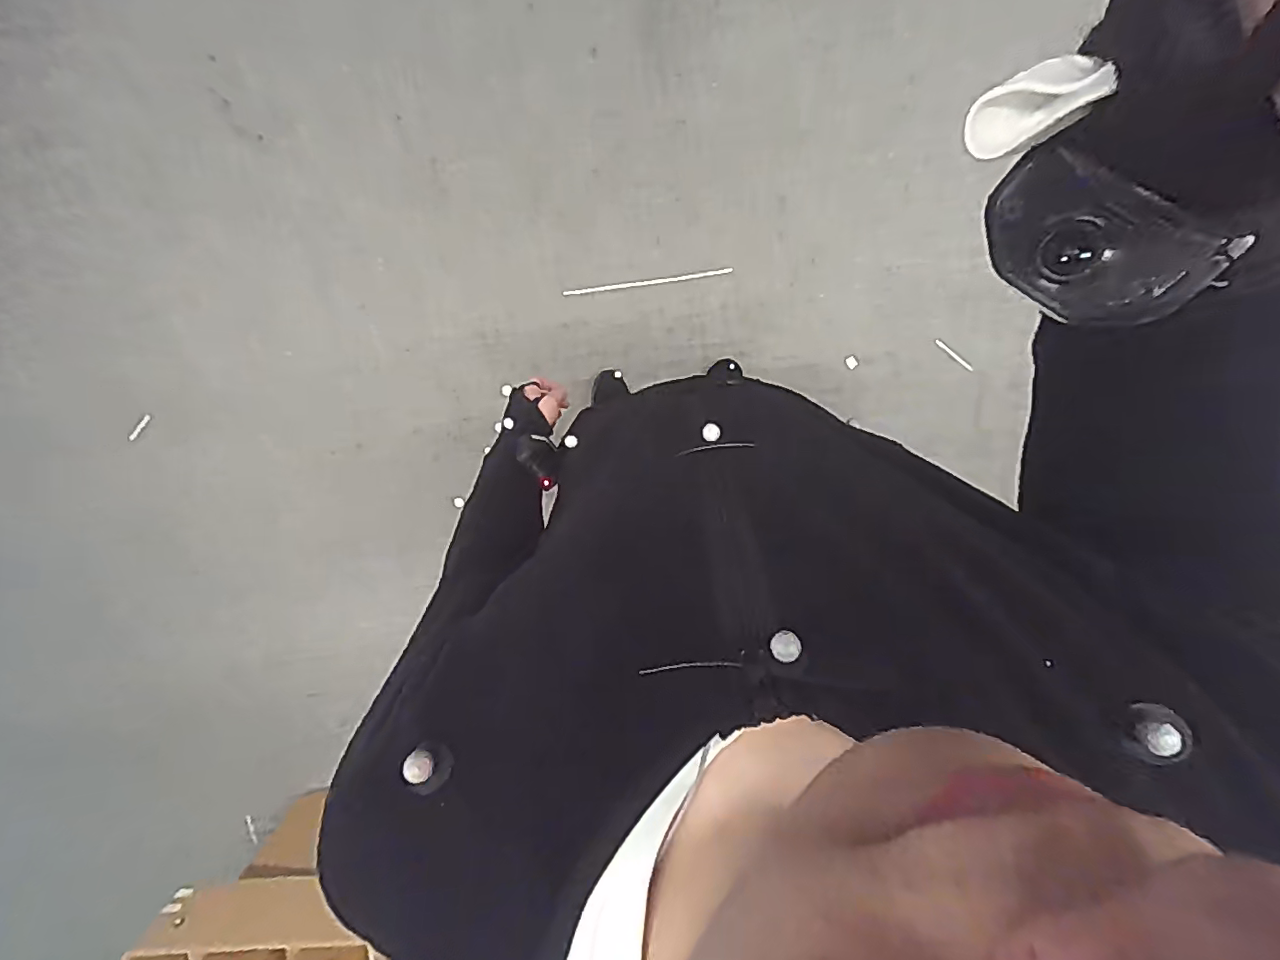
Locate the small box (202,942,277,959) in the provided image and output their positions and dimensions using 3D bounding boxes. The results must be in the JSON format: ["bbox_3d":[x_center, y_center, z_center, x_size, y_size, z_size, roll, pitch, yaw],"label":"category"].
[{"bbox_3d":[-1.063,1.333,1.381,0.179,0.176,0.168,-4,102,0],"label":"small box"}]
